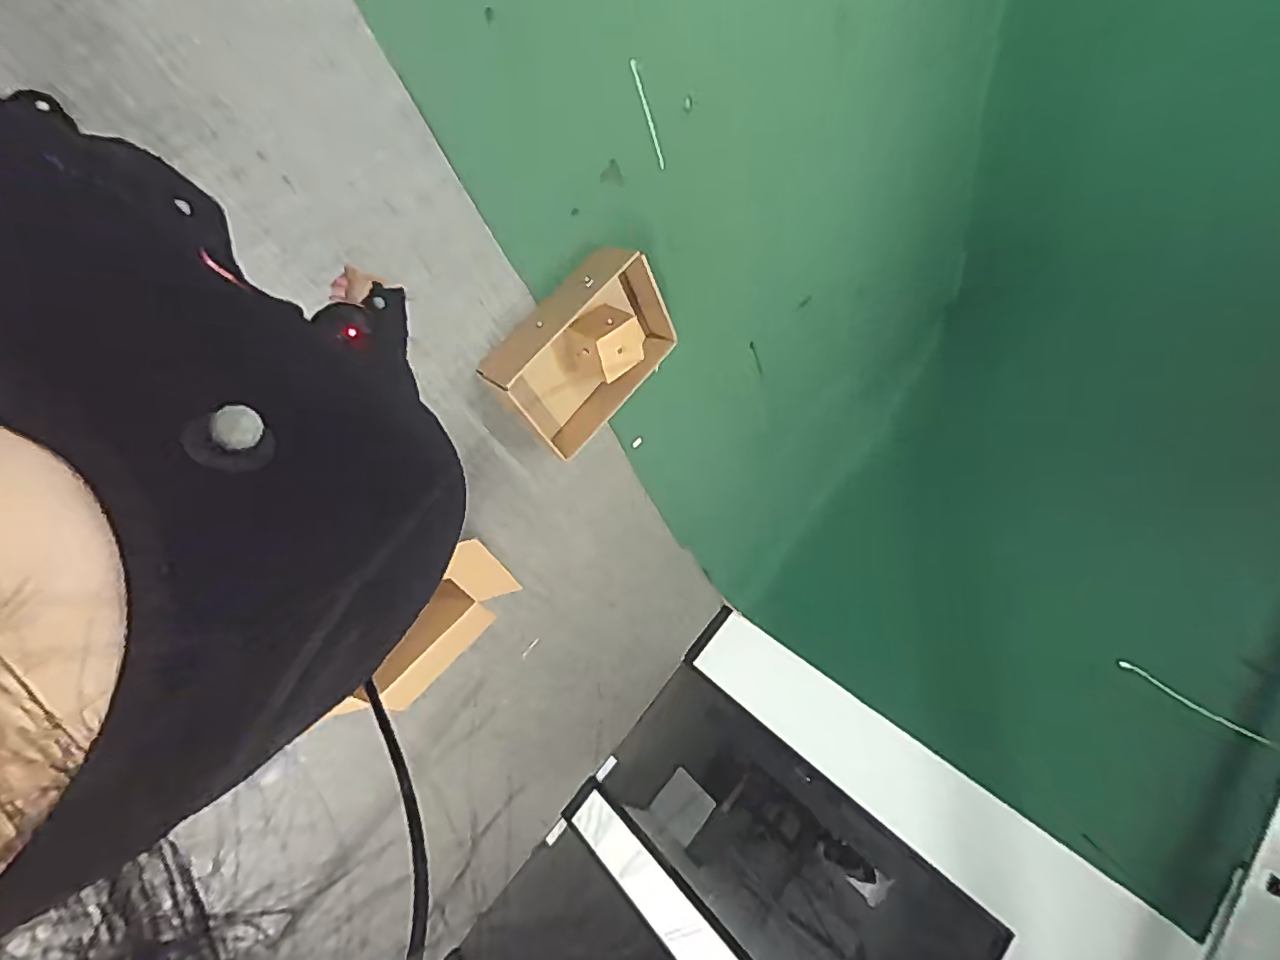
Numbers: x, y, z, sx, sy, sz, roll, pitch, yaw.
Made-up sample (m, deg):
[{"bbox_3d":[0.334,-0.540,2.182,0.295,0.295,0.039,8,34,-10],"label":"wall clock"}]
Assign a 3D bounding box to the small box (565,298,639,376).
[{"bbox_3d":[-0.131,-0.480,1.803,0.179,0.176,0.168,-40,141,-22],"label":"small box"}]
